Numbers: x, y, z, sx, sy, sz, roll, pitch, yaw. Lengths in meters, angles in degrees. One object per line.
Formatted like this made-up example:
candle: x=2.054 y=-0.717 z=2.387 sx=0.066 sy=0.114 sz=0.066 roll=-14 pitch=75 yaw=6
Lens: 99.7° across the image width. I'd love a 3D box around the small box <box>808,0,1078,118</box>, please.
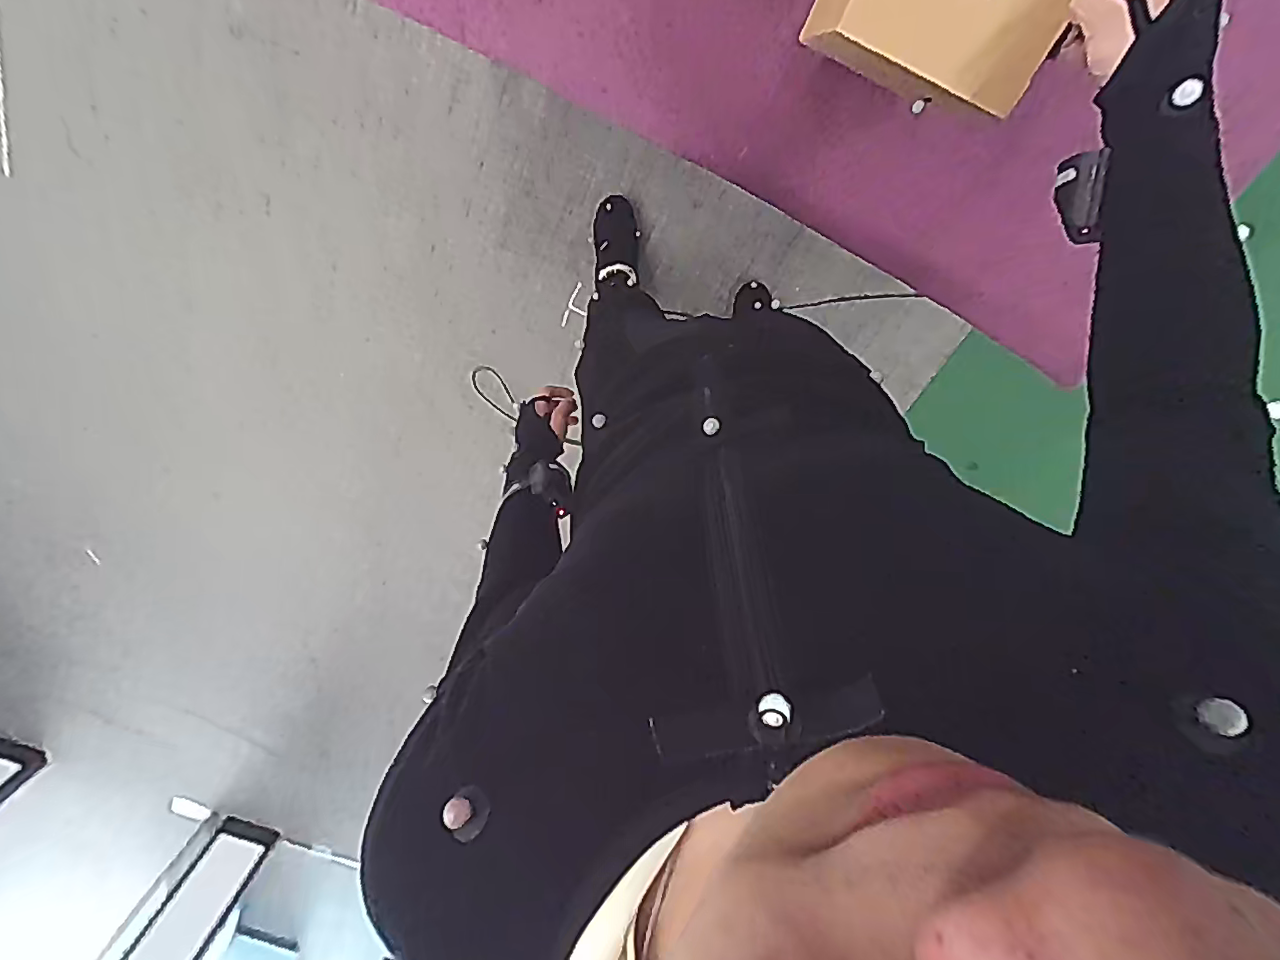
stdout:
small box: x=0.283 y=-0.468 z=0.496 sx=0.179 sy=0.176 sz=0.168 roll=20 pitch=126 yaw=-11
